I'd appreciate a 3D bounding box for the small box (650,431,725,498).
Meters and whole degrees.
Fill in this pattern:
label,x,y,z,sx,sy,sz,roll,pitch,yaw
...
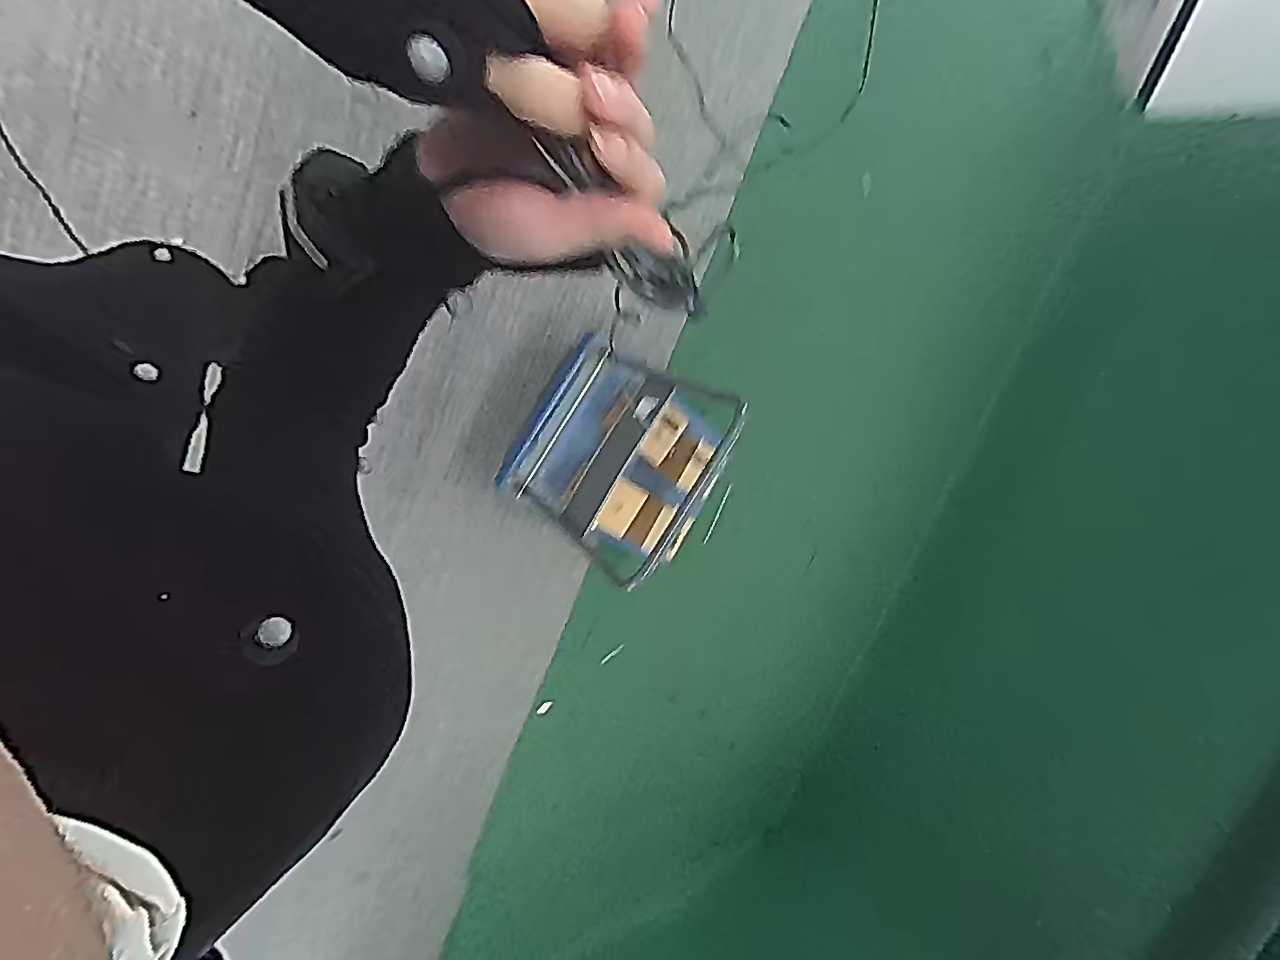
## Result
label,x,y,z,sx,sy,sz,roll,pitch,yaw
small box,0.166,-0.062,1.952,0.179,0.176,0.168,27,94,-44

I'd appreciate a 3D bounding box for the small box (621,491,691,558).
label,x,y,z,sx,sy,sz,roll,pitch,yaw
small box,0.044,0.158,1.963,0.179,0.176,0.168,27,93,-43

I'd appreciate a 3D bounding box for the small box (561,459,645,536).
label,x,y,z,sx,sy,sz,roll,pitch,yaw
small box,-0.123,0.053,1.777,0.179,0.176,0.168,33,89,-43
